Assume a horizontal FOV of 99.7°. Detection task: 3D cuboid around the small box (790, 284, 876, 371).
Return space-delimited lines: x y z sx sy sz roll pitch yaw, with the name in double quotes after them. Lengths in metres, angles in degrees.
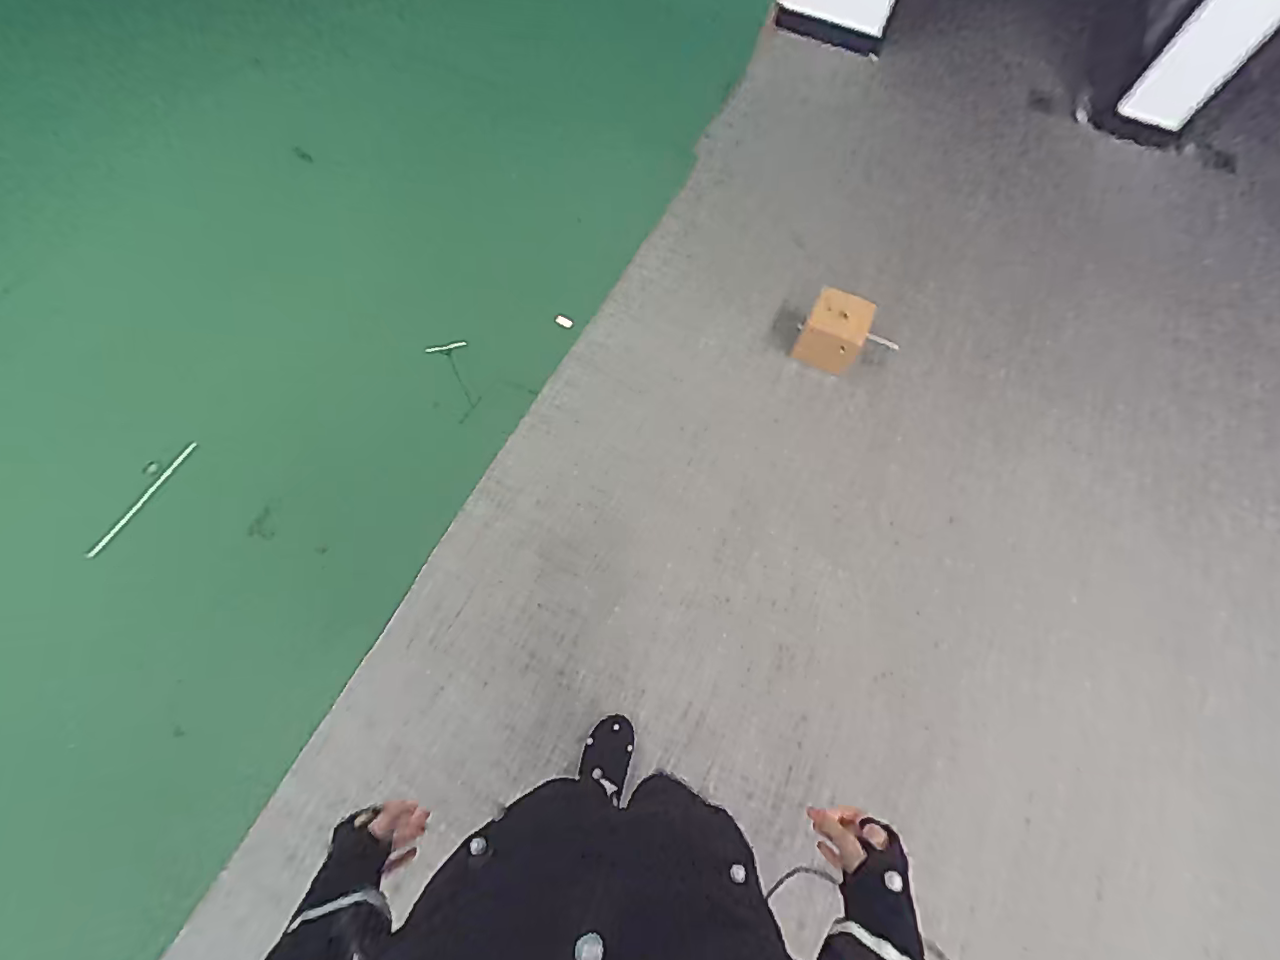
0.590 -0.464 1.670 0.179 0.176 0.168 24 69 9 "small box"
